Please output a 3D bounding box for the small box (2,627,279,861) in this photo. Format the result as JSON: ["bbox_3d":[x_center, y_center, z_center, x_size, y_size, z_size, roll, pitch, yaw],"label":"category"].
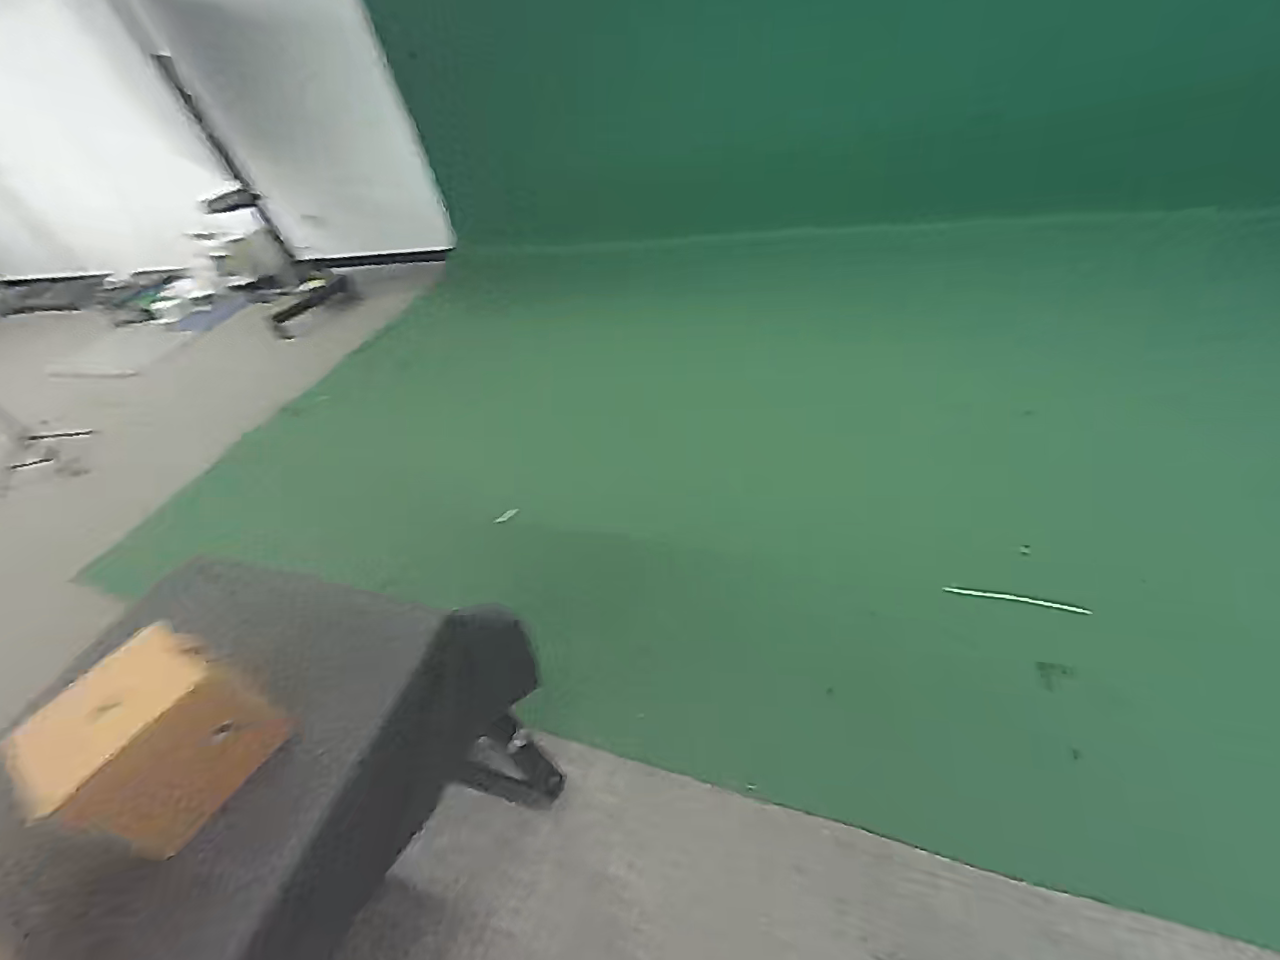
[{"bbox_3d":[-0.595,0.323,0.671,0.168,0.176,0.179,17,52,31],"label":"small box"}]
